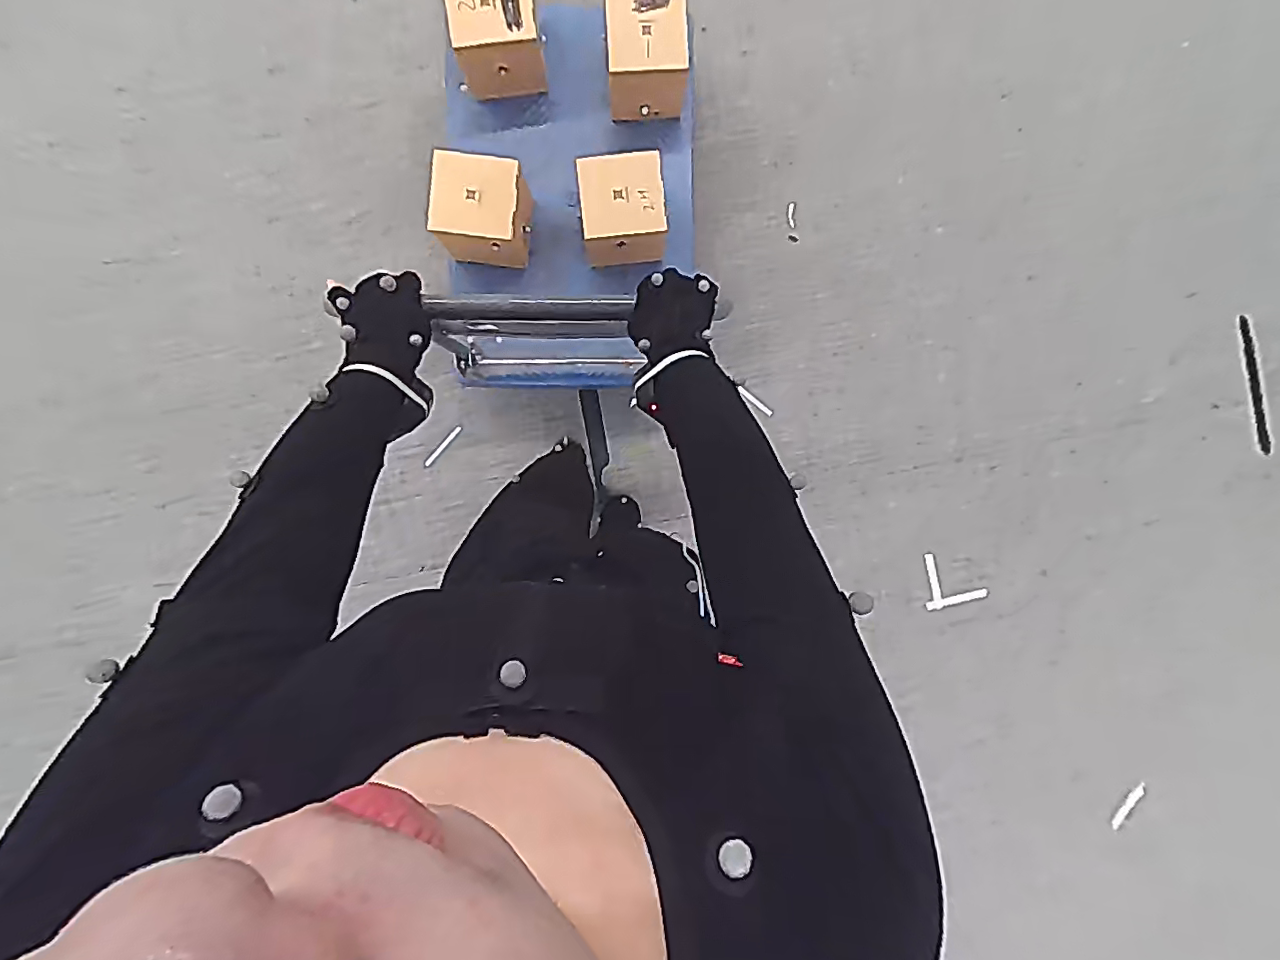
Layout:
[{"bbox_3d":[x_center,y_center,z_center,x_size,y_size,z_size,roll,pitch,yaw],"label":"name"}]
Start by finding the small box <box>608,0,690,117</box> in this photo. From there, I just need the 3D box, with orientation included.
[{"bbox_3d":[0.016,-0.936,1.184,0.168,0.176,0.179,-3,94,-1],"label":"small box"}]

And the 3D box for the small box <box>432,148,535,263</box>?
[{"bbox_3d":[-0.338,-0.595,1.192,0.179,0.176,0.168,5,92,-3],"label":"small box"}]

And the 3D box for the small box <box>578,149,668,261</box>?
[{"bbox_3d":[-0.035,-0.600,1.199,0.179,0.176,0.168,-6,93,-1],"label":"small box"}]
